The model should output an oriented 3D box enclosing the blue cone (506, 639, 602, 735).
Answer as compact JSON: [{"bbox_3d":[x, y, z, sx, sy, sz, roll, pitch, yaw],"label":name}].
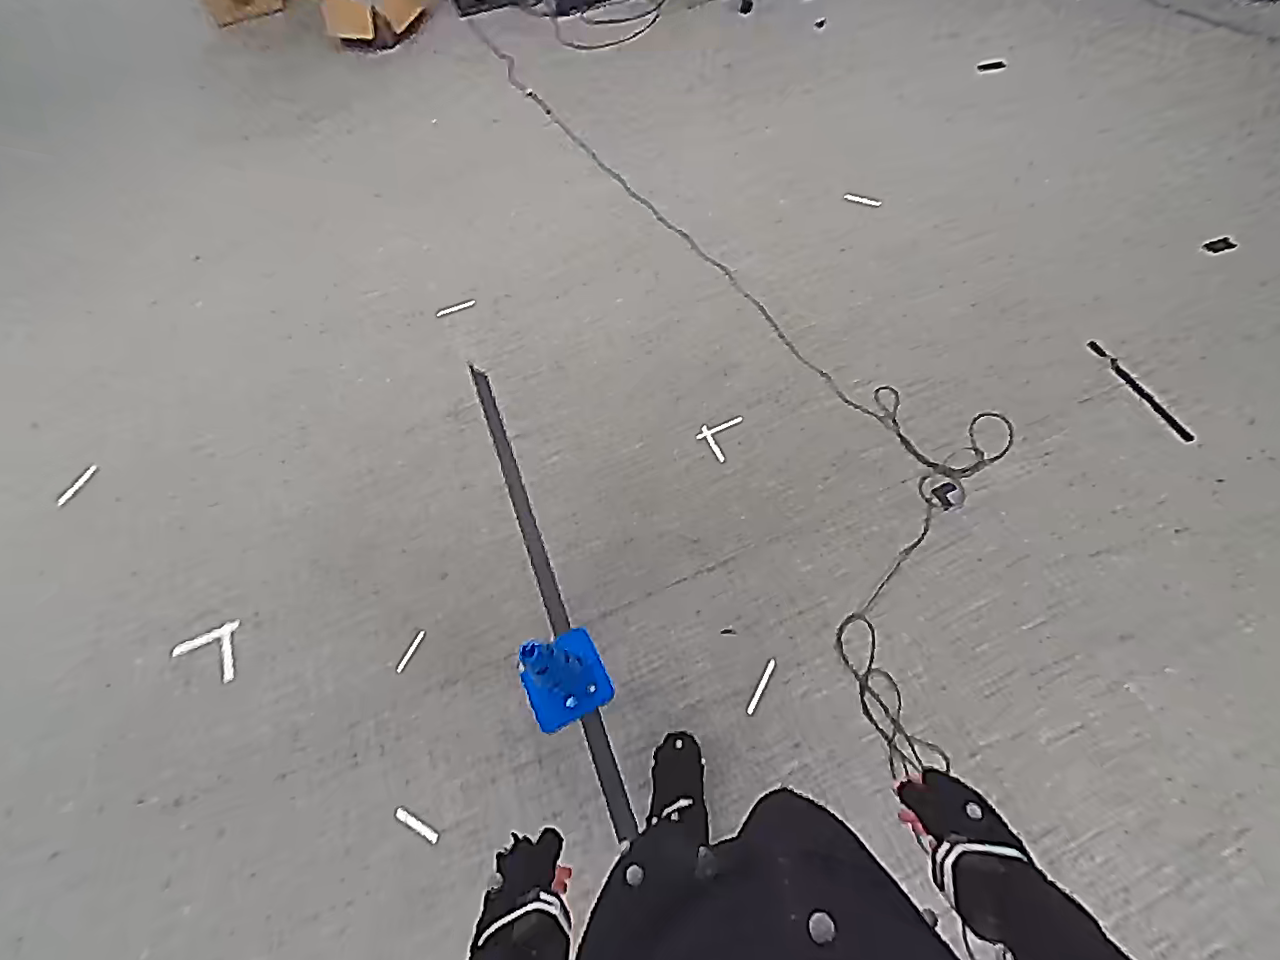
[{"bbox_3d":[-0.217,0.433,1.207,0.192,0.380,0.193,-25,63,-8],"label":"blue cone"}]
